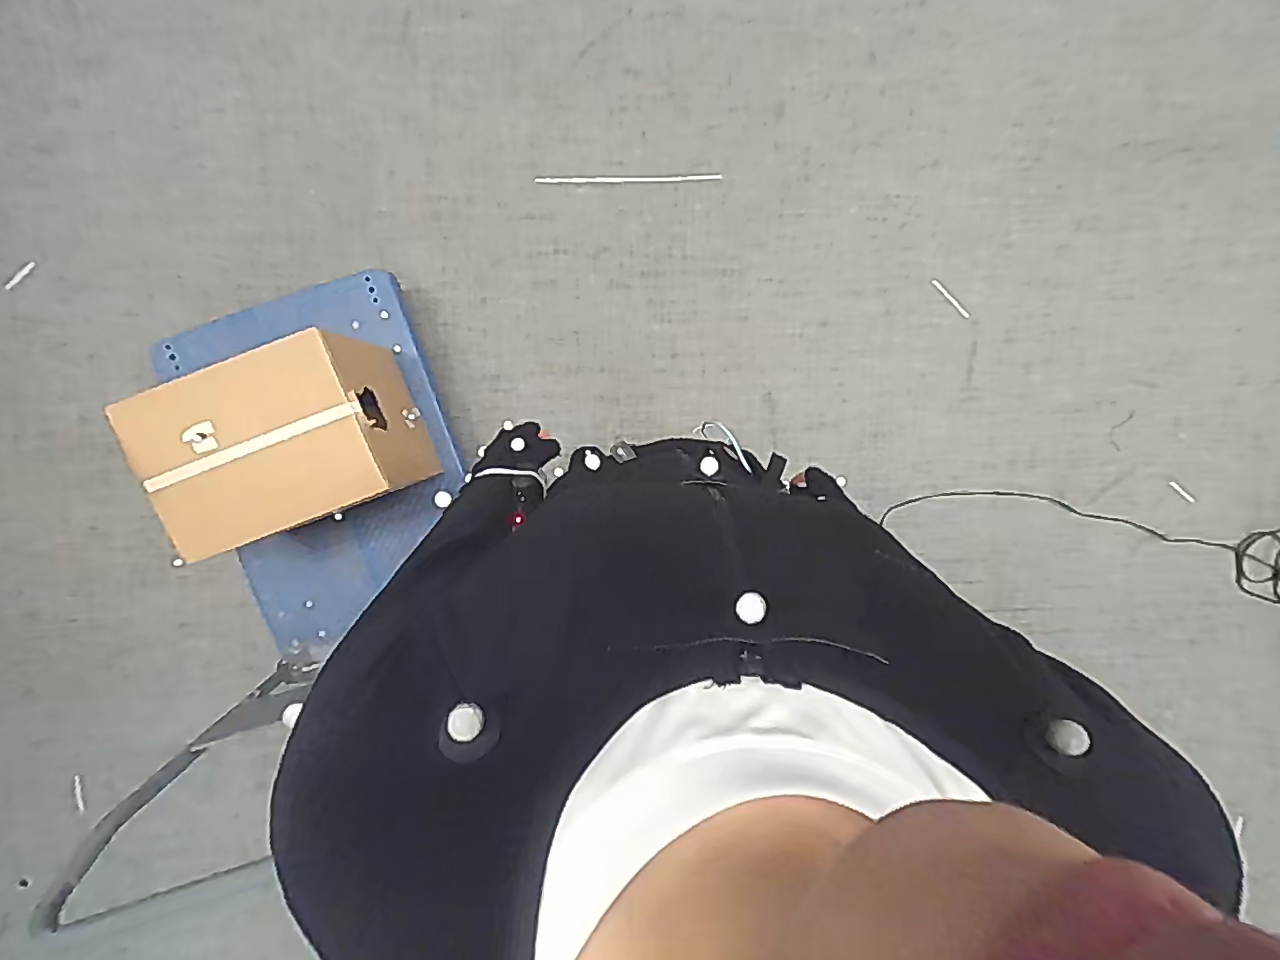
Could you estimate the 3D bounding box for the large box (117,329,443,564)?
[{"bbox_3d":[-0.697,-0.075,1.120,0.408,0.320,0.320,-21,96,1],"label":"large box"}]
